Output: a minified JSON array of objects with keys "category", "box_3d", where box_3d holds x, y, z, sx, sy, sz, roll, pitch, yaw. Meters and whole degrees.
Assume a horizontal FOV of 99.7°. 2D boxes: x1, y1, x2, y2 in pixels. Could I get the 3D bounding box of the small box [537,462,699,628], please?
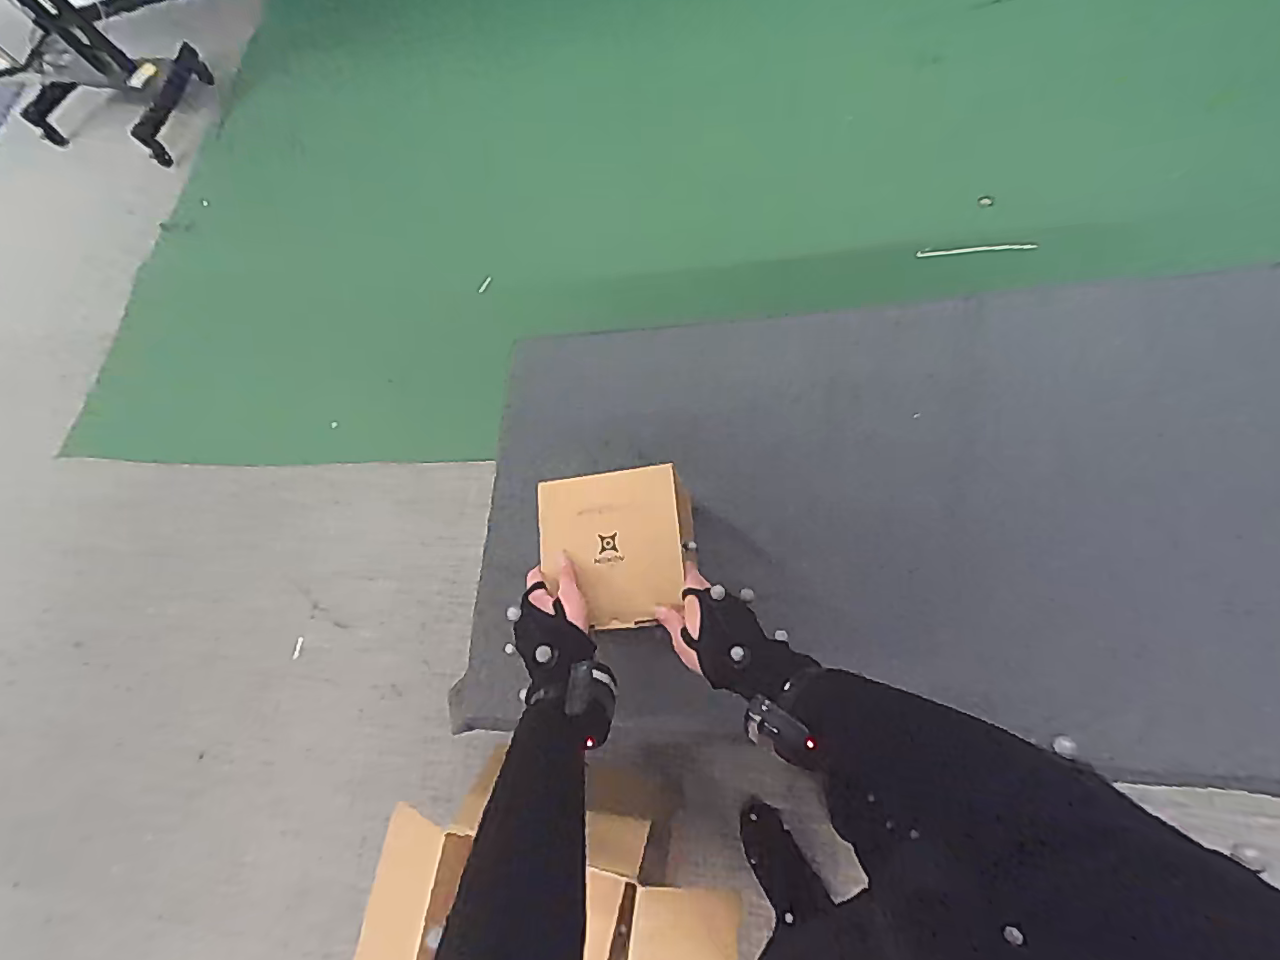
[{"category":"small box","box_3d":[-0.021,0.093,0.690,0.168,0.176,0.179,-8,72,10]}]
